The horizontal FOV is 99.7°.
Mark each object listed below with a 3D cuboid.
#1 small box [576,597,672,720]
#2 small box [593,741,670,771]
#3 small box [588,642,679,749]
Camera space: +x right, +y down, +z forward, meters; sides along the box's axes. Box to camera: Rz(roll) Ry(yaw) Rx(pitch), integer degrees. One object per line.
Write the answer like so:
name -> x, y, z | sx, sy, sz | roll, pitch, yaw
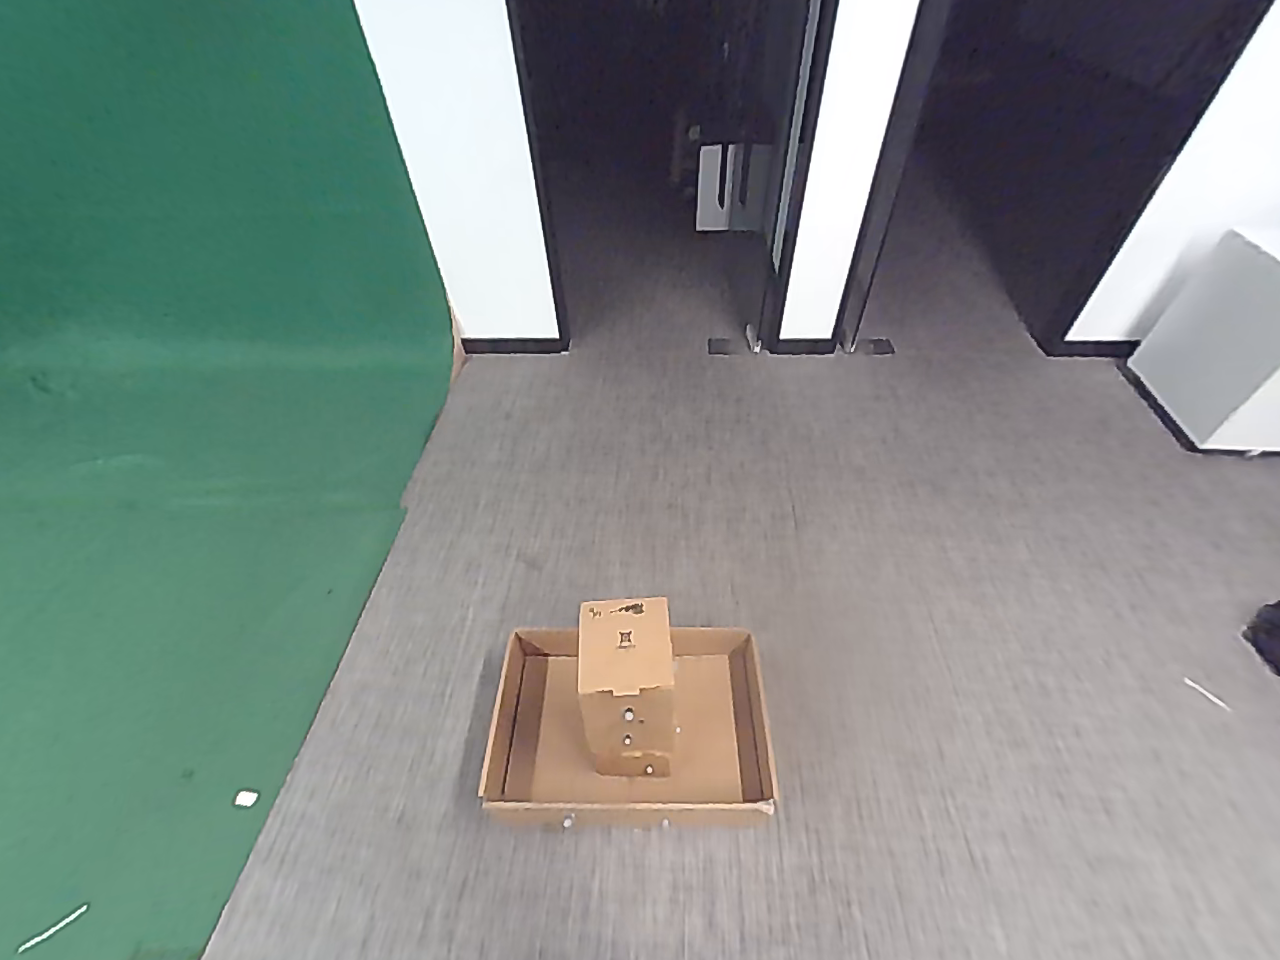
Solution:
small box -> -0.026, 0.343, 1.023 | 0.168, 0.176, 0.179 | -3, 48, 0
small box -> -0.013, 0.565, 1.263 | 0.168, 0.176, 0.179 | 1, 46, 3
small box -> -0.016, 0.456, 1.142 | 0.179, 0.176, 0.168 | -2, 48, -2
